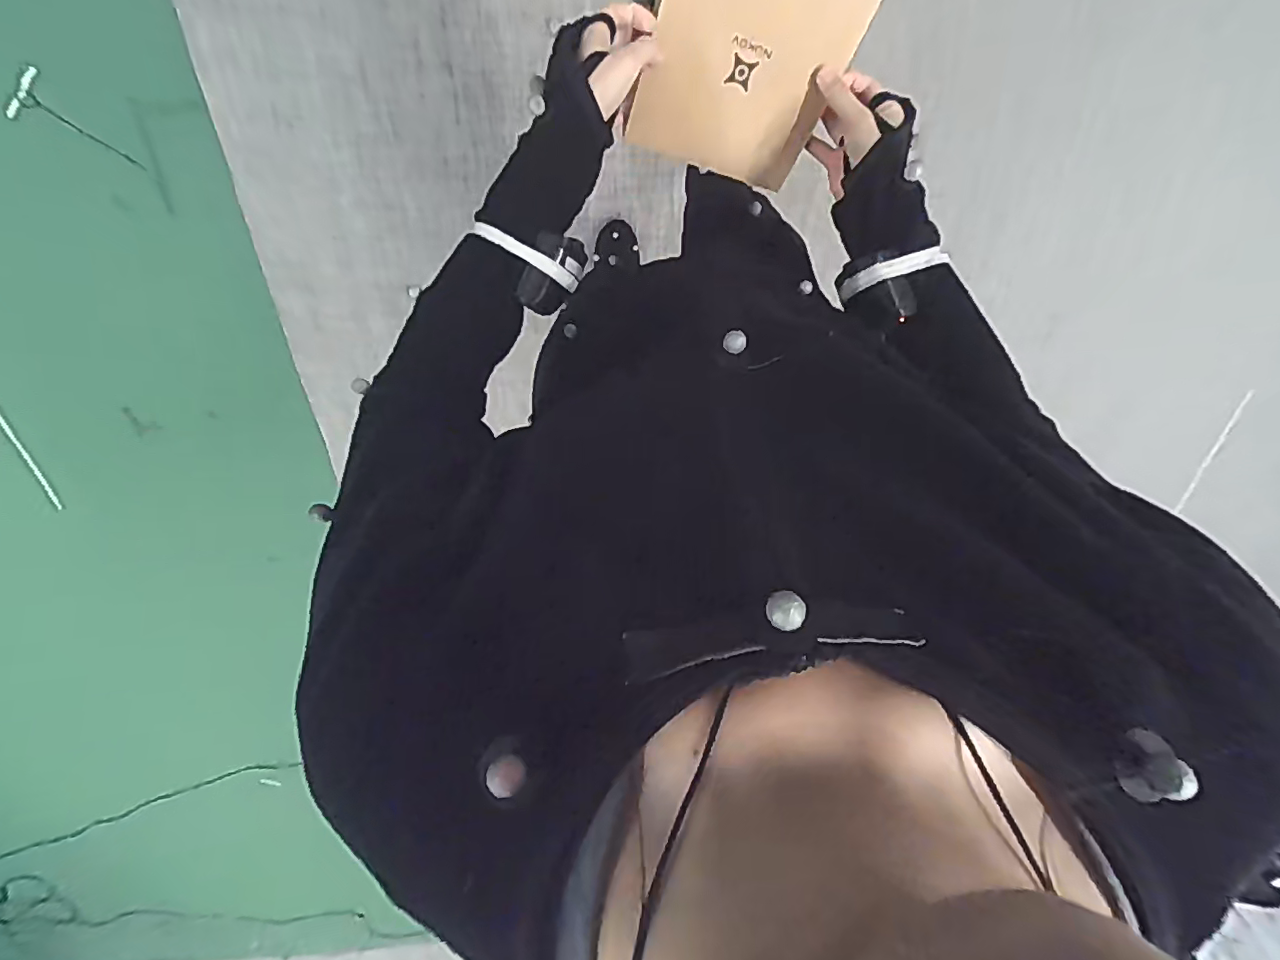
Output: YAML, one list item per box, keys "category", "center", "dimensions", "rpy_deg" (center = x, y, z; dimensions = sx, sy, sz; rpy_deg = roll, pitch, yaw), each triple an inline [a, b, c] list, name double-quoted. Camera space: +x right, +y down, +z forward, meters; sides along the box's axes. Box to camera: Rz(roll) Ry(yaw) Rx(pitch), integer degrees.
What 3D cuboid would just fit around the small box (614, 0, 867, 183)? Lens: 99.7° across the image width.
- category: "small box"
  center: [0.080, -0.422, 0.497]
  dimensions: [0.168, 0.176, 0.179]
  rpy_deg: [10, 142, -16]
